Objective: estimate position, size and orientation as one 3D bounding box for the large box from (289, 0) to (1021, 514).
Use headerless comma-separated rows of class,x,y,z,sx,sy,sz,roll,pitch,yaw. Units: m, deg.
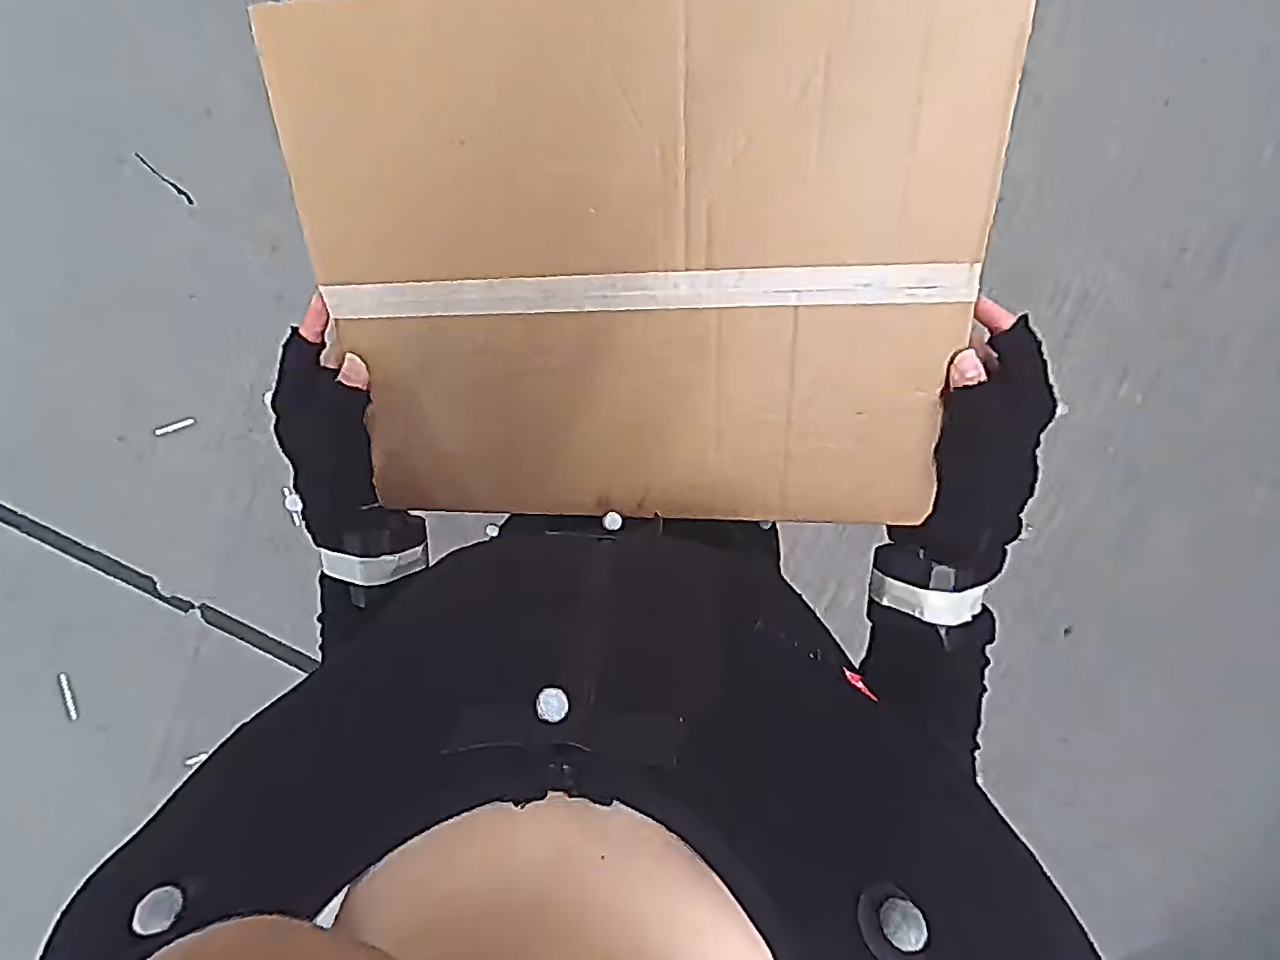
large box,0.014,-0.177,0.479,0.408,0.320,0.320,1,115,7
